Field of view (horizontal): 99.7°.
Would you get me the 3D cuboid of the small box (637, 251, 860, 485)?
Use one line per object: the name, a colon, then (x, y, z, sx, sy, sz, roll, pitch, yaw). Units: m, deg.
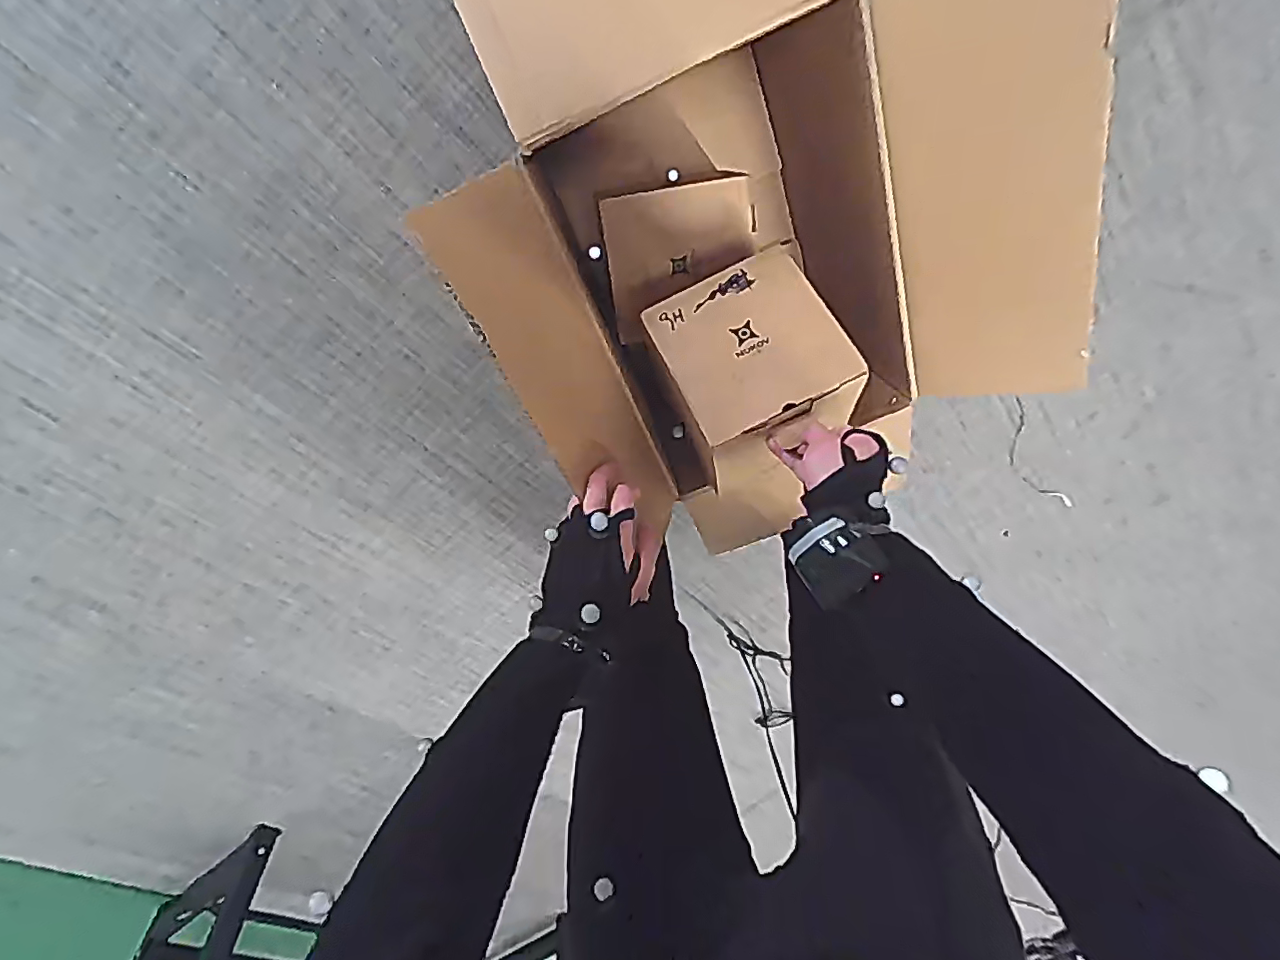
small box: (0.120, -0.110, 0.616, 0.168, 0.179, 0.176, -28, 158, 2)
